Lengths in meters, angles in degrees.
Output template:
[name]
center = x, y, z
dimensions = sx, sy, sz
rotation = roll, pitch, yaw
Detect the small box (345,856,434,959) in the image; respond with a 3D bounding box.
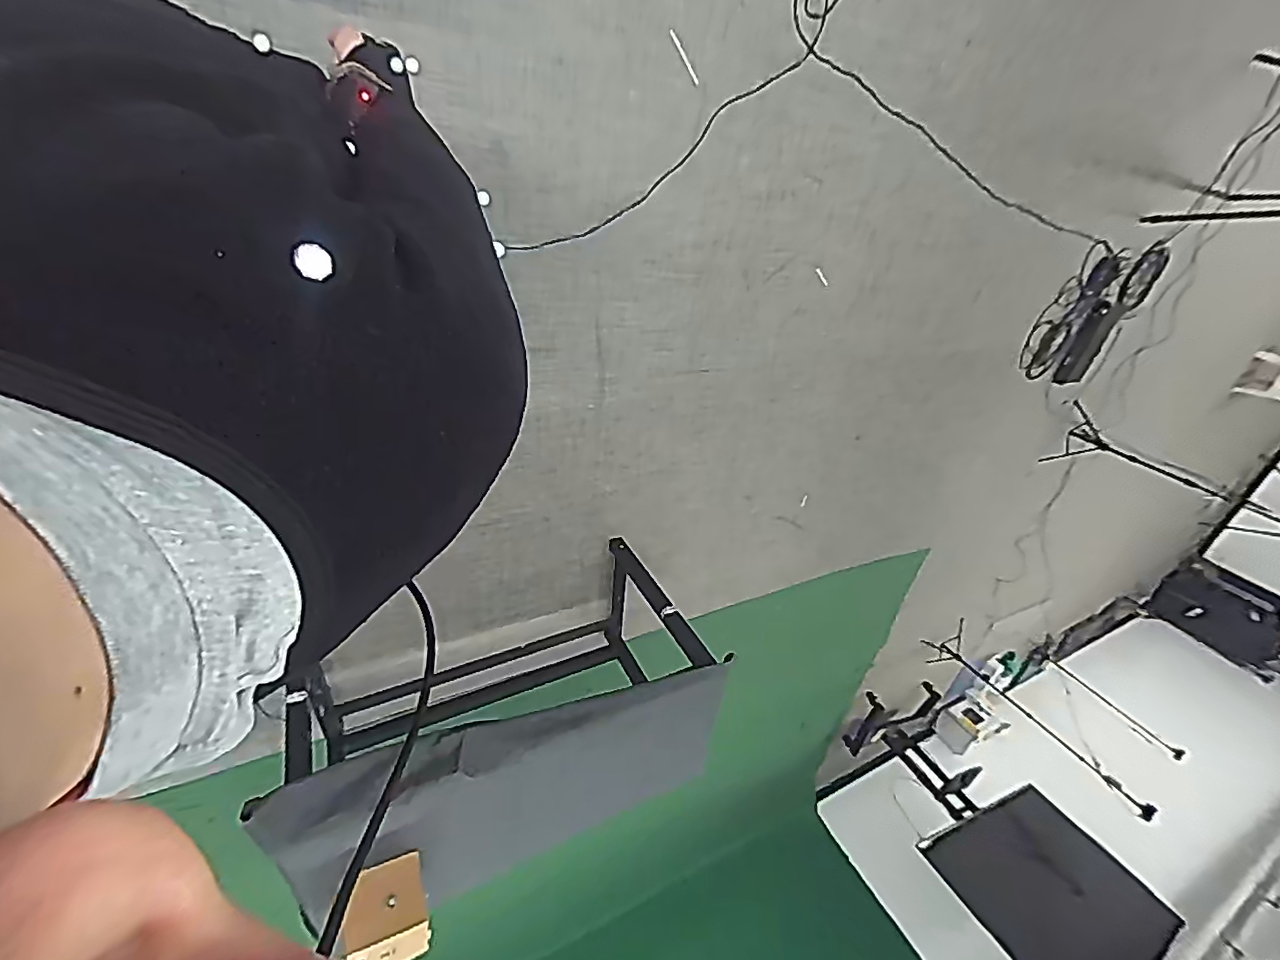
[small box]
center = -0.617, 1.077, 1.330
dimensions = 0.179, 0.176, 0.168
rotation = -6, 122, -30
